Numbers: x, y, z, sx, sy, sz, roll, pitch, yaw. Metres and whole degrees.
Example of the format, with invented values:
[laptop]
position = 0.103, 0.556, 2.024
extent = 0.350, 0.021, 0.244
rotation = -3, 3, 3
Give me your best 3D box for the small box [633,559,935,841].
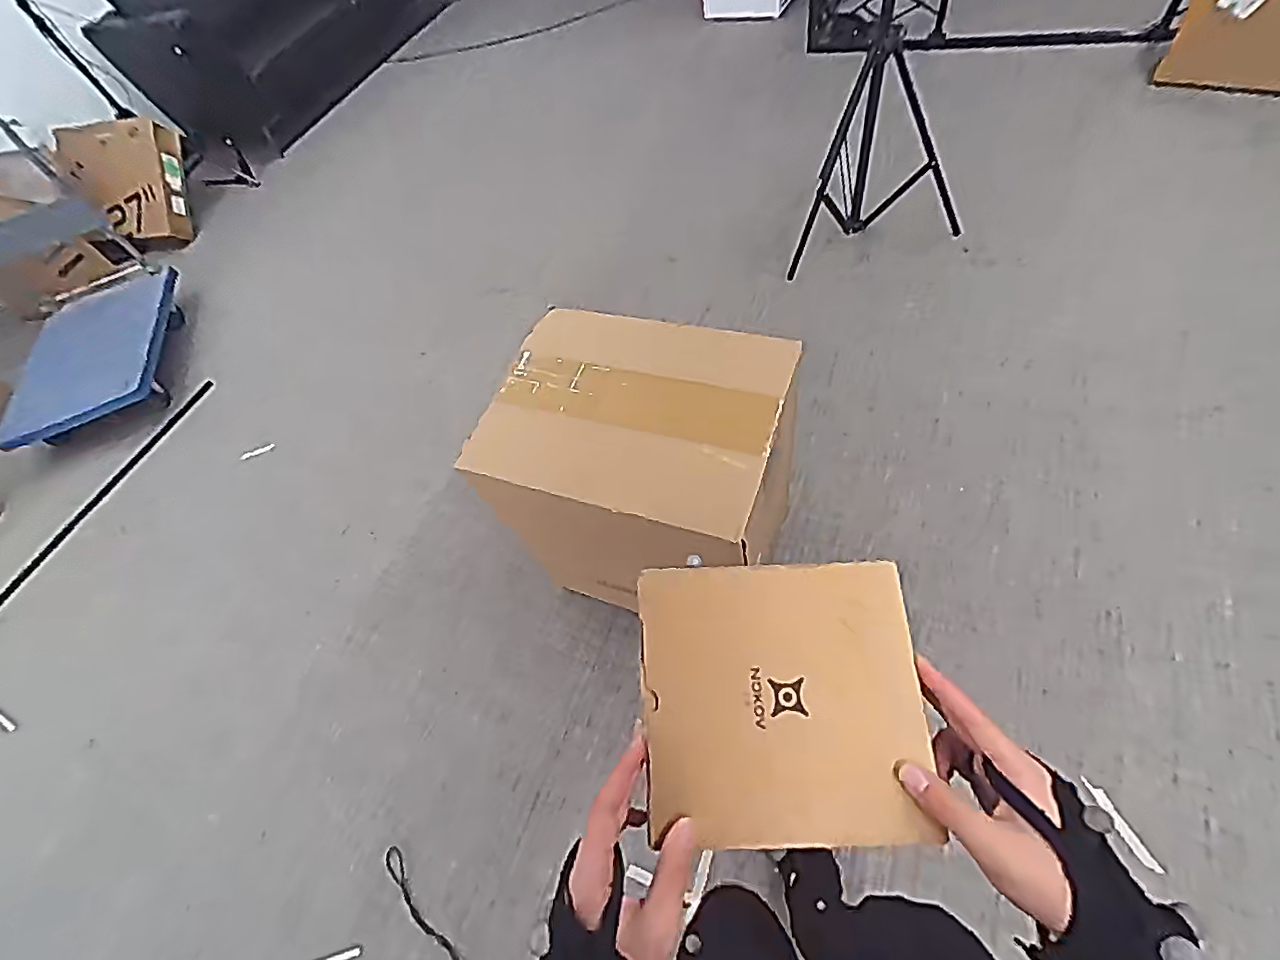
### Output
[small box]
position = 0.089, 0.158, 0.419
extent = 0.179, 0.176, 0.168
rotation = -4, 71, 3
